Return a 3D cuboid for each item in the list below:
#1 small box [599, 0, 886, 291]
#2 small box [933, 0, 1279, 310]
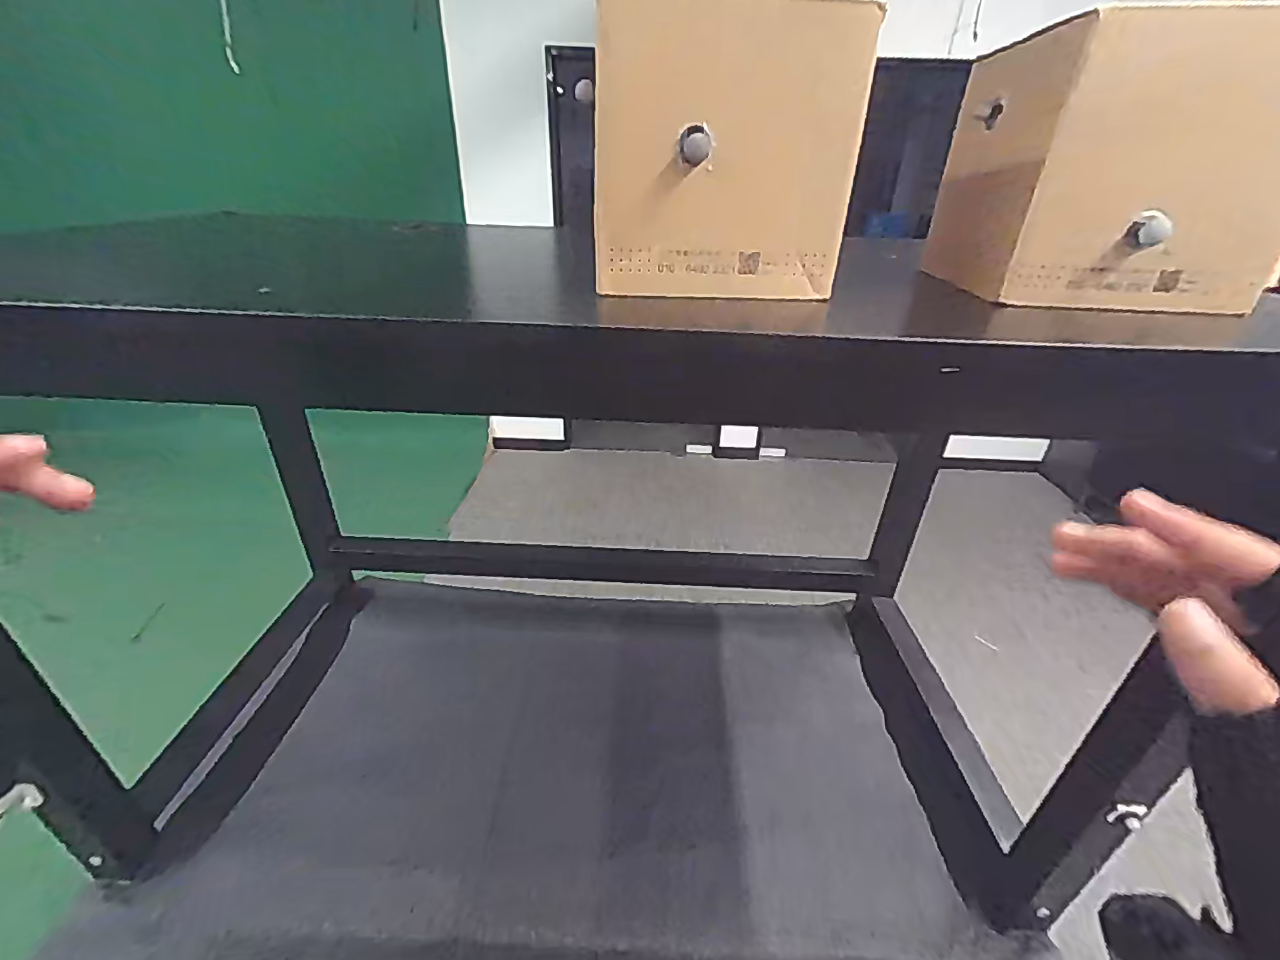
[{"bbox_3d":[0.055,-0.243,0.409,0.168,0.176,0.179,0,29,-3],"label":"small box"},{"bbox_3d":[0.349,-0.235,0.406,0.168,0.176,0.179,5,30,6],"label":"small box"}]
